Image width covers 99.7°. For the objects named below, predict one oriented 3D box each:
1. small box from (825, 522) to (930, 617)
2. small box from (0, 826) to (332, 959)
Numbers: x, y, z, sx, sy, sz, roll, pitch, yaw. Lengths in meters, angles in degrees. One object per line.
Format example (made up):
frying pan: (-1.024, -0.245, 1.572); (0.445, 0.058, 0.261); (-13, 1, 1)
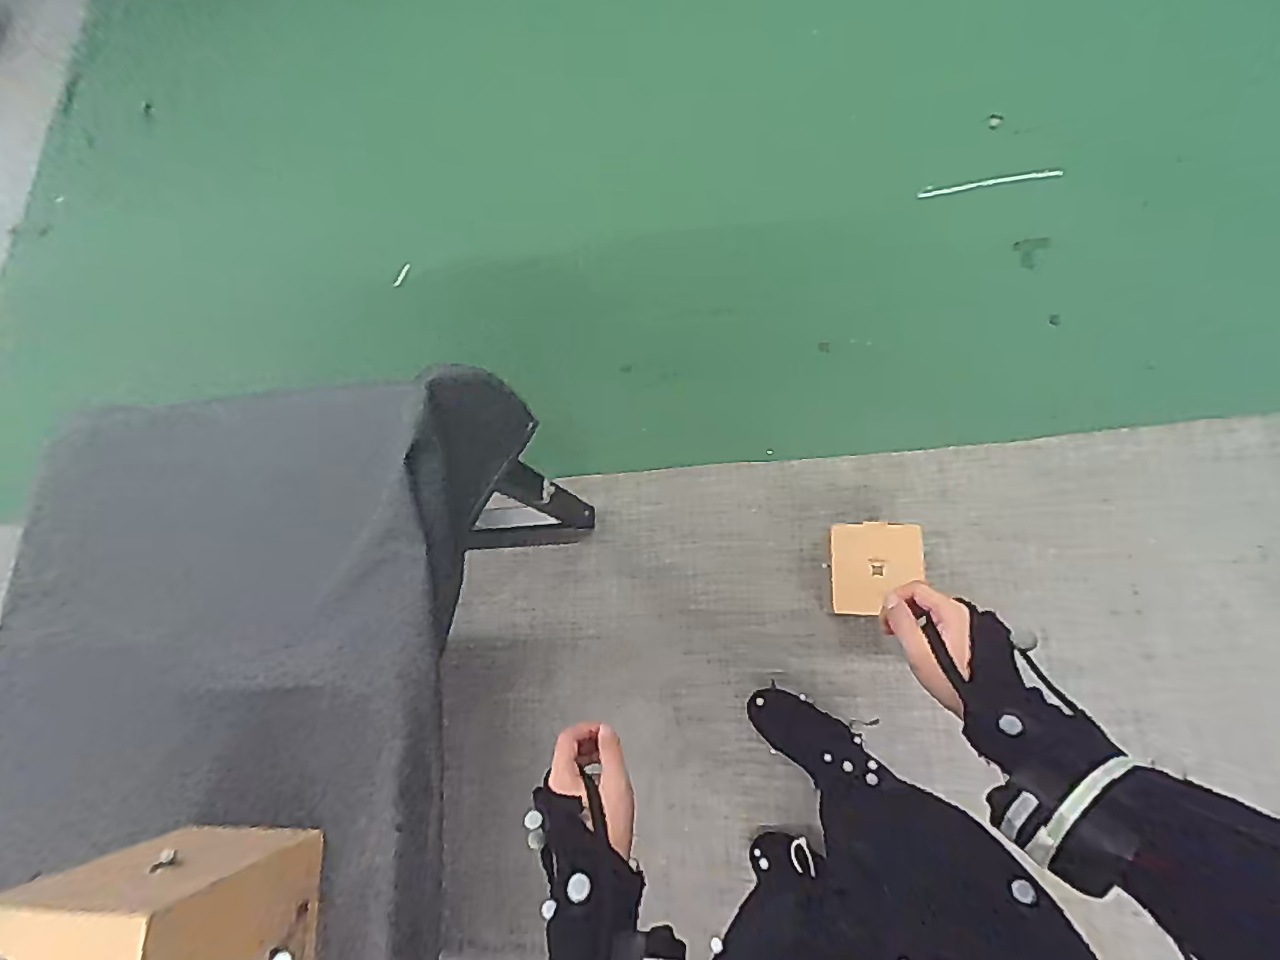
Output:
small box: (0.471, 0.185, 1.096); (0.168, 0.176, 0.179); (-1, 77, 14)
small box: (-0.408, 0.420, 0.465); (0.179, 0.176, 0.168); (-7, 75, 12)
